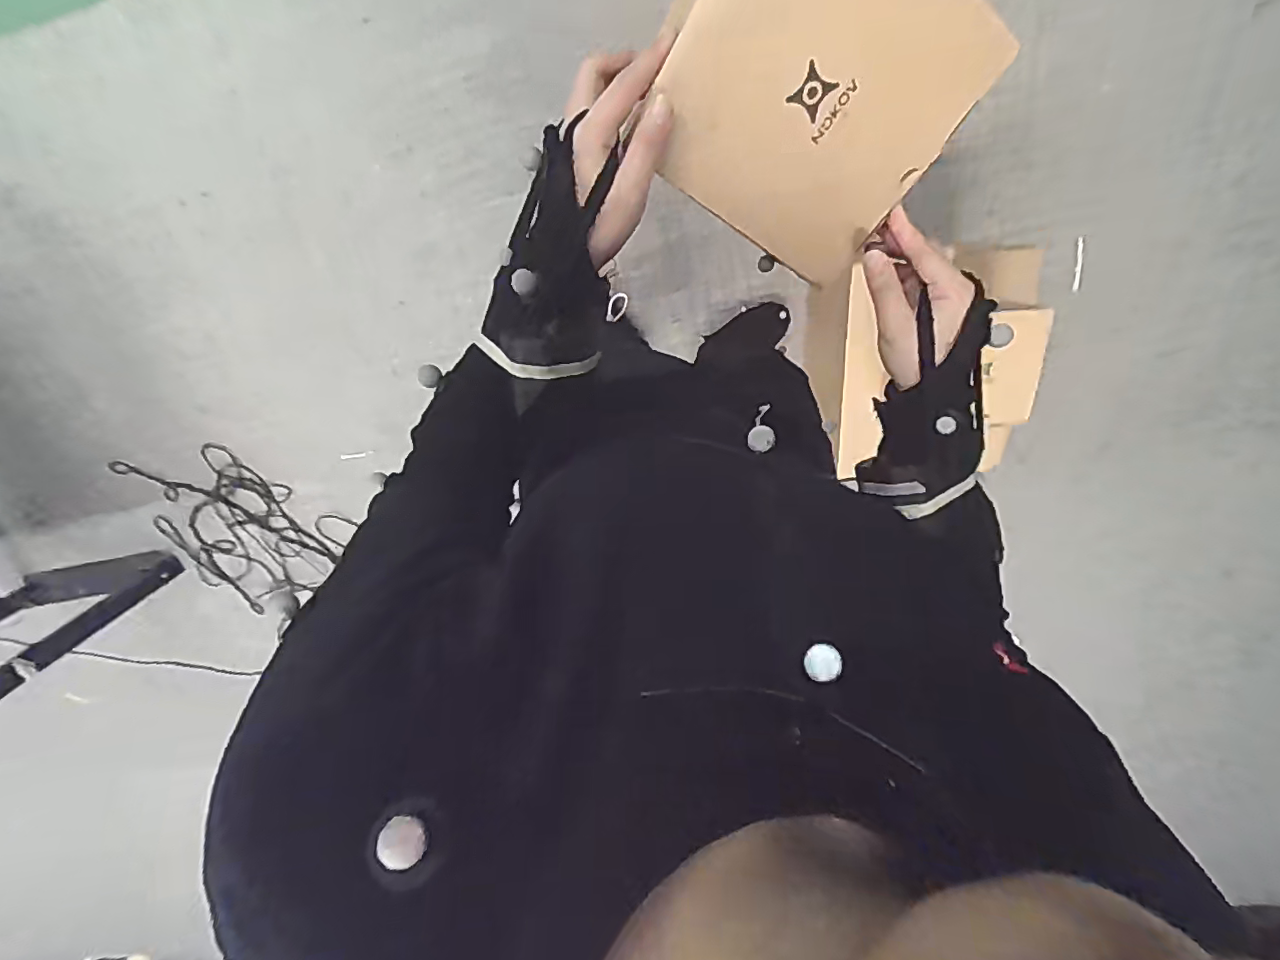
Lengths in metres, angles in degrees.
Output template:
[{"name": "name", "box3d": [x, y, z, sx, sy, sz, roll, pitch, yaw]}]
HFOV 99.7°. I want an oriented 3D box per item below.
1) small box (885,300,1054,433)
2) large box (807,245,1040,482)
[{"name": "small box", "box3d": [0.515, -0.188, 0.877, 0.168, 0.176, 0.179, -4, 113, 3]}, {"name": "large box", "box3d": [0.536, -0.249, 1.115, 0.320, 0.320, 0.408, -4, 115, 6]}]
